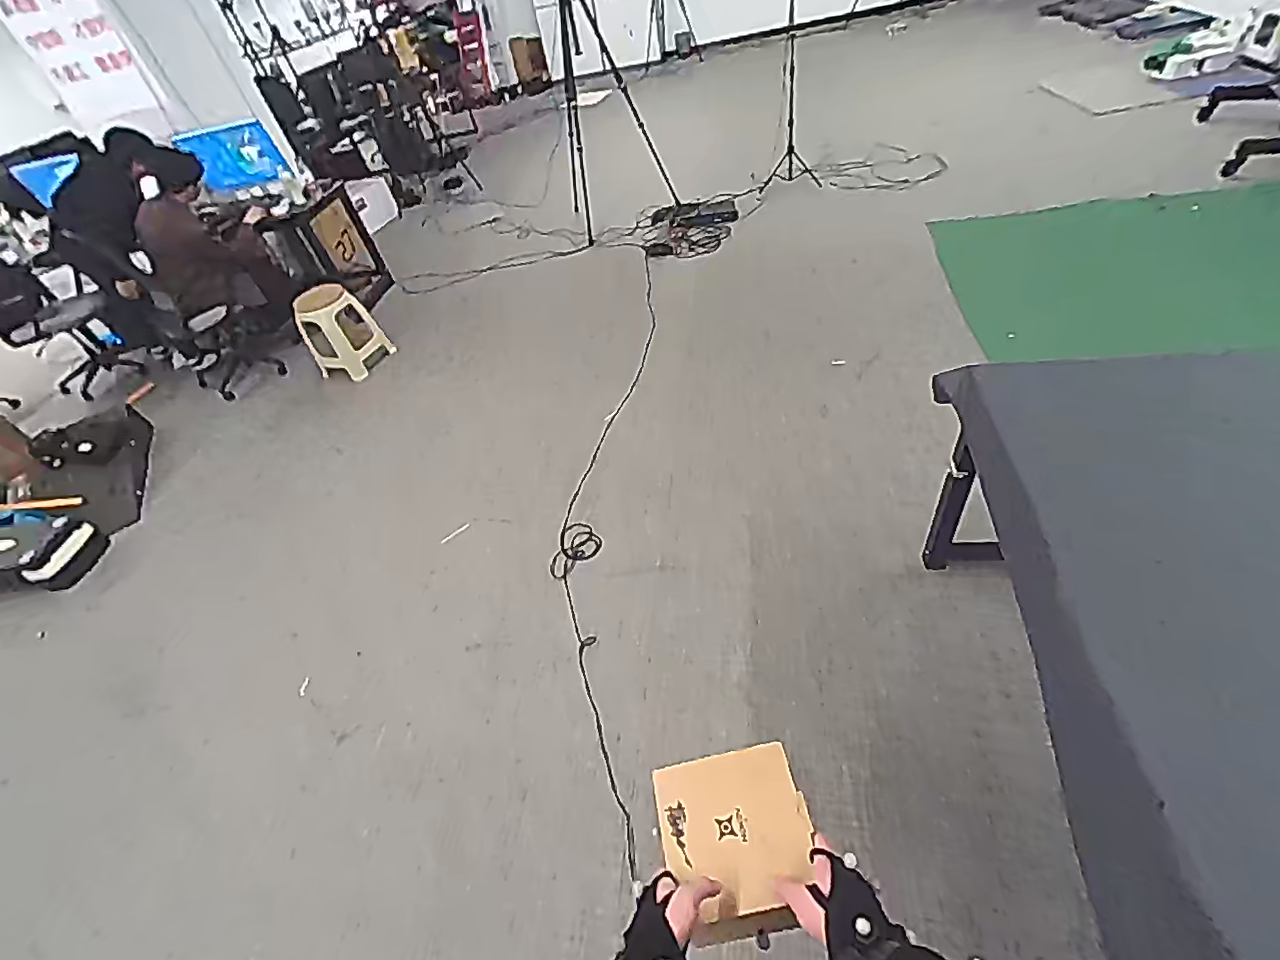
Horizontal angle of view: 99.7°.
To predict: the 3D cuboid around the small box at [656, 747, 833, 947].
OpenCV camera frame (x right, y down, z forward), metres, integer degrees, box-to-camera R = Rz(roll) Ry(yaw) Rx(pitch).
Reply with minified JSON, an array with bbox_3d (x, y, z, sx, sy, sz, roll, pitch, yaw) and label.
[{"bbox_3d":[0.128,0.471,0.693,0.179,0.176,0.168,-14,42,2],"label":"small box"}]
